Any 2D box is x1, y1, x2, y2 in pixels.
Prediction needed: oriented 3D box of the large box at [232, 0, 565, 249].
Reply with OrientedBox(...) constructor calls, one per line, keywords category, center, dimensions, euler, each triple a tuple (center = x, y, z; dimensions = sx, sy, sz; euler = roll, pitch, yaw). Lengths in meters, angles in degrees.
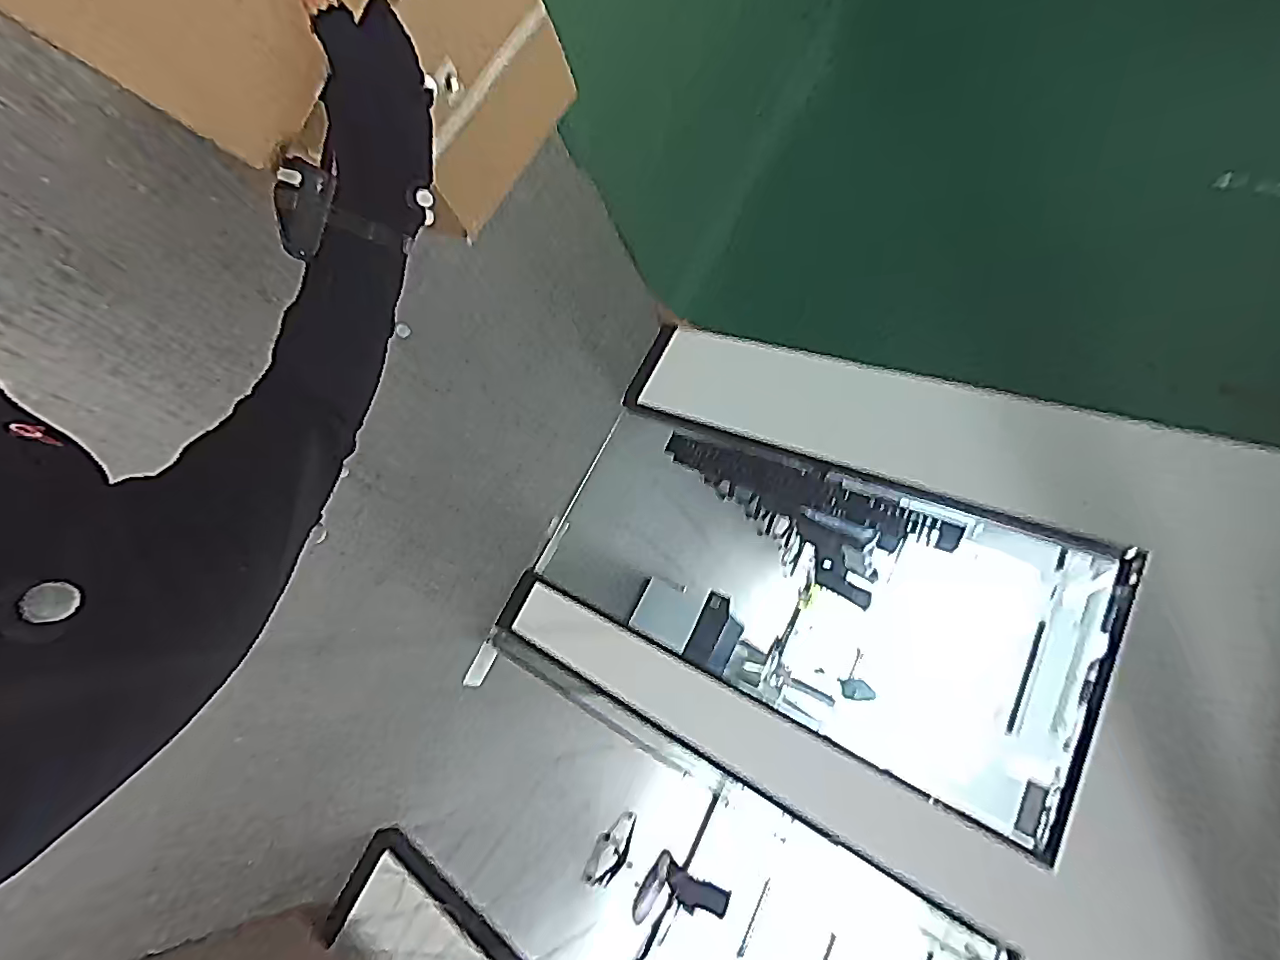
OrientedBox(category="large box", center=(-0.408, -0.711, 0.986), dimensions=(0.408, 0.320, 0.320), euler=(-61, 154, -14))
